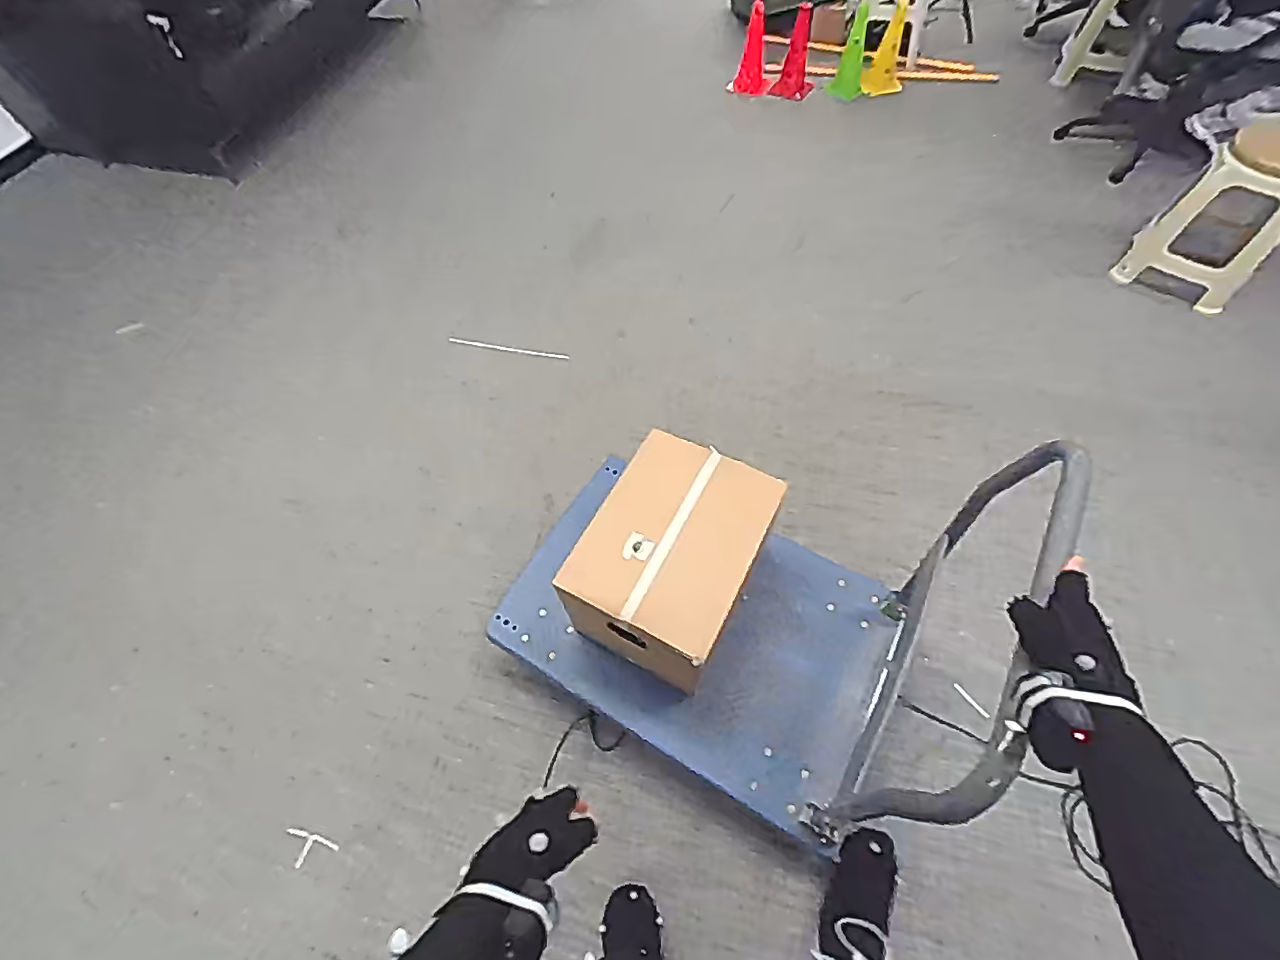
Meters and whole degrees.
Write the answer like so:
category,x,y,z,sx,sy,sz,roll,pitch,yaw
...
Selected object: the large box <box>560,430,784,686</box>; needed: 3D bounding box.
category,x,y,z,sx,sy,sz,roll,pitch,yaw
large box,0.076,0.173,1.184,0.320,0.320,0.408,24,64,16
